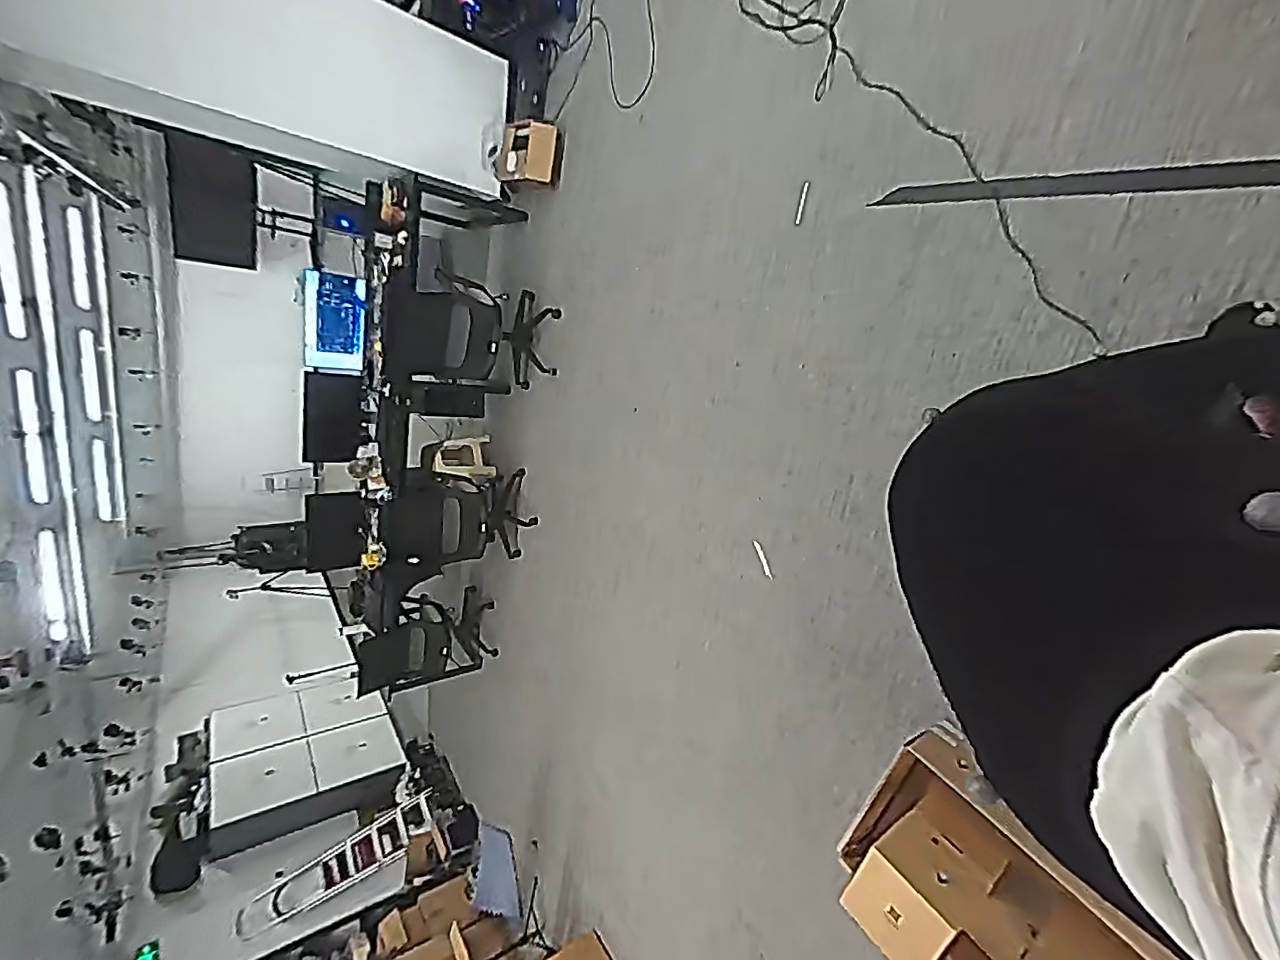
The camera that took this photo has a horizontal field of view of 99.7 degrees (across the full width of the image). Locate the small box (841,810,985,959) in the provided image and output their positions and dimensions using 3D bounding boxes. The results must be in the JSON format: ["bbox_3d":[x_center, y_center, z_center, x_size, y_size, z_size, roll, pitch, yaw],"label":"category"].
[{"bbox_3d":[0.529,0.788,1.045,0.168,0.176,0.179,37,122,44],"label":"small box"}]

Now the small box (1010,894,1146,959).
[{"bbox_3d":[0.798,0.913,0.976,0.179,0.176,0.168,36,120,45],"label":"small box"}]

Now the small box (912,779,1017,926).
[{"bbox_3d":[0.658,0.778,1.143,0.168,0.176,0.179,36,121,44],"label":"small box"}]
